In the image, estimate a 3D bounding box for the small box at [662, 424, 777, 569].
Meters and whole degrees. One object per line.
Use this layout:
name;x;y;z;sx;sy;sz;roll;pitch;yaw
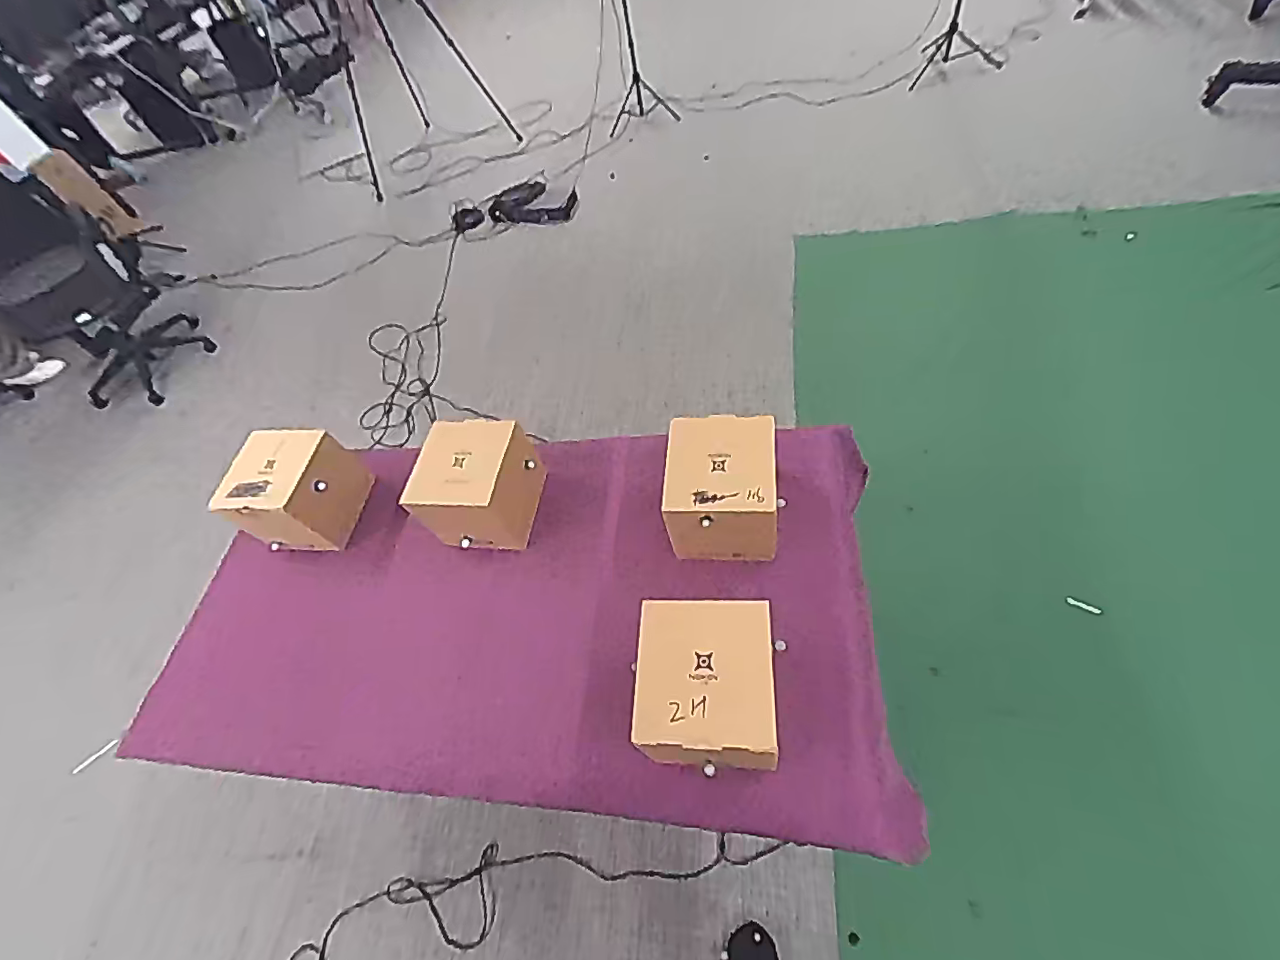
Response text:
small box;0.134;0.027;0.876;0.168;0.176;0.179;1;57;12

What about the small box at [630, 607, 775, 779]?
small box;0.089;0.282;0.714;0.168;0.176;0.179;-1;57;12

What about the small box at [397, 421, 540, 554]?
small box;-0.292;0.014;0.969;0.168;0.176;0.179;2;59;13

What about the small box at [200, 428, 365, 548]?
small box;-0.664;0.019;1.033;0.168;0.176;0.179;1;58;11
